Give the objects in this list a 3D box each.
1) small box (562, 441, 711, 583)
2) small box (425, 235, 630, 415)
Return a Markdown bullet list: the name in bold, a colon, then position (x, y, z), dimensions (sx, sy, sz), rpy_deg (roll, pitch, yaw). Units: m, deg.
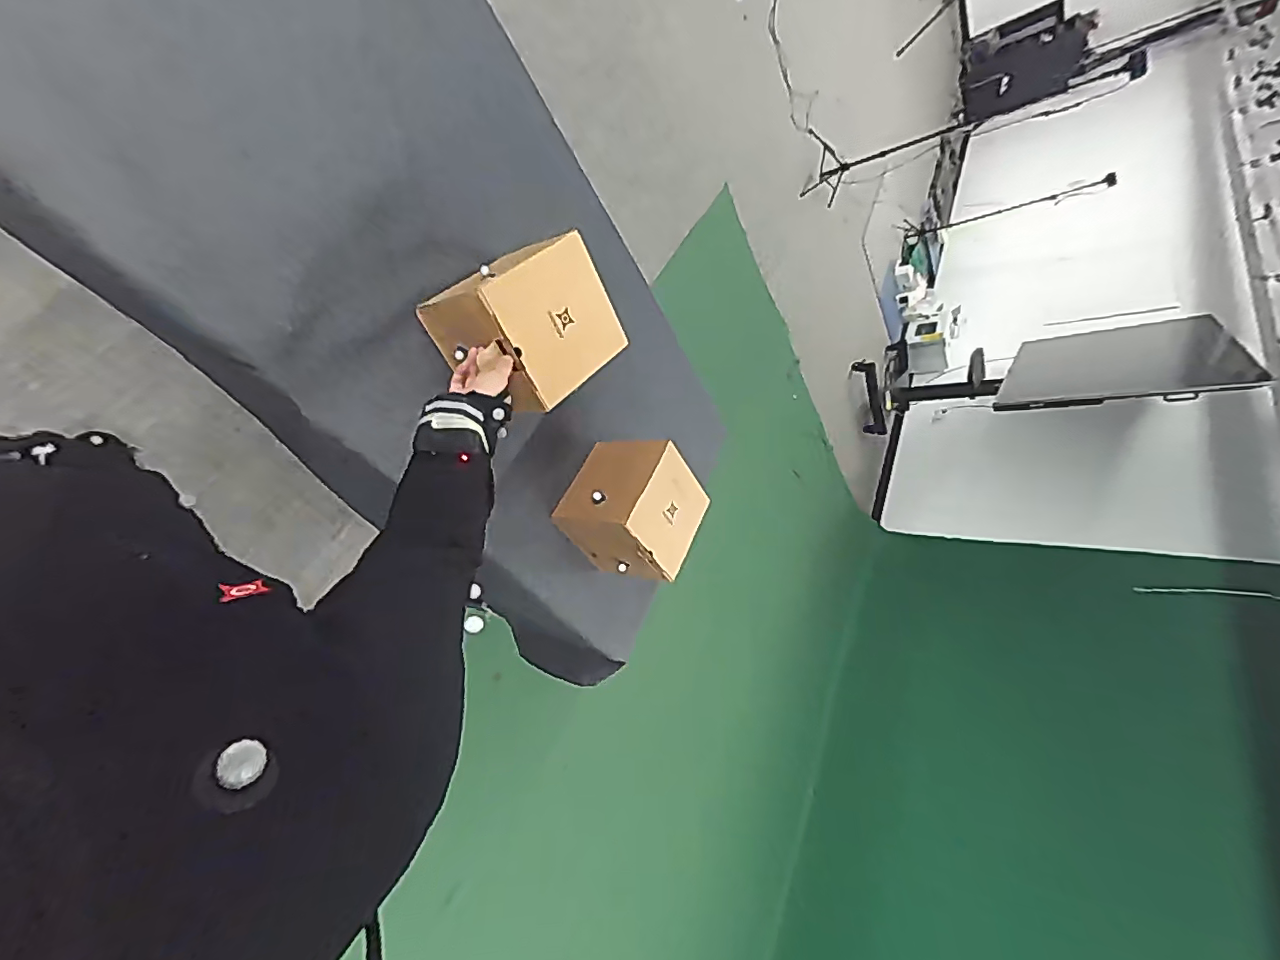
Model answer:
- **small box**: position (-0.009, 0.053, 0.927), dimensions (0.168, 0.176, 0.179), rpy_deg (54, 51, -38)
- **small box**: position (-0.150, -0.204, 0.731), dimensions (0.179, 0.176, 0.168), rpy_deg (-47, 126, -31)
